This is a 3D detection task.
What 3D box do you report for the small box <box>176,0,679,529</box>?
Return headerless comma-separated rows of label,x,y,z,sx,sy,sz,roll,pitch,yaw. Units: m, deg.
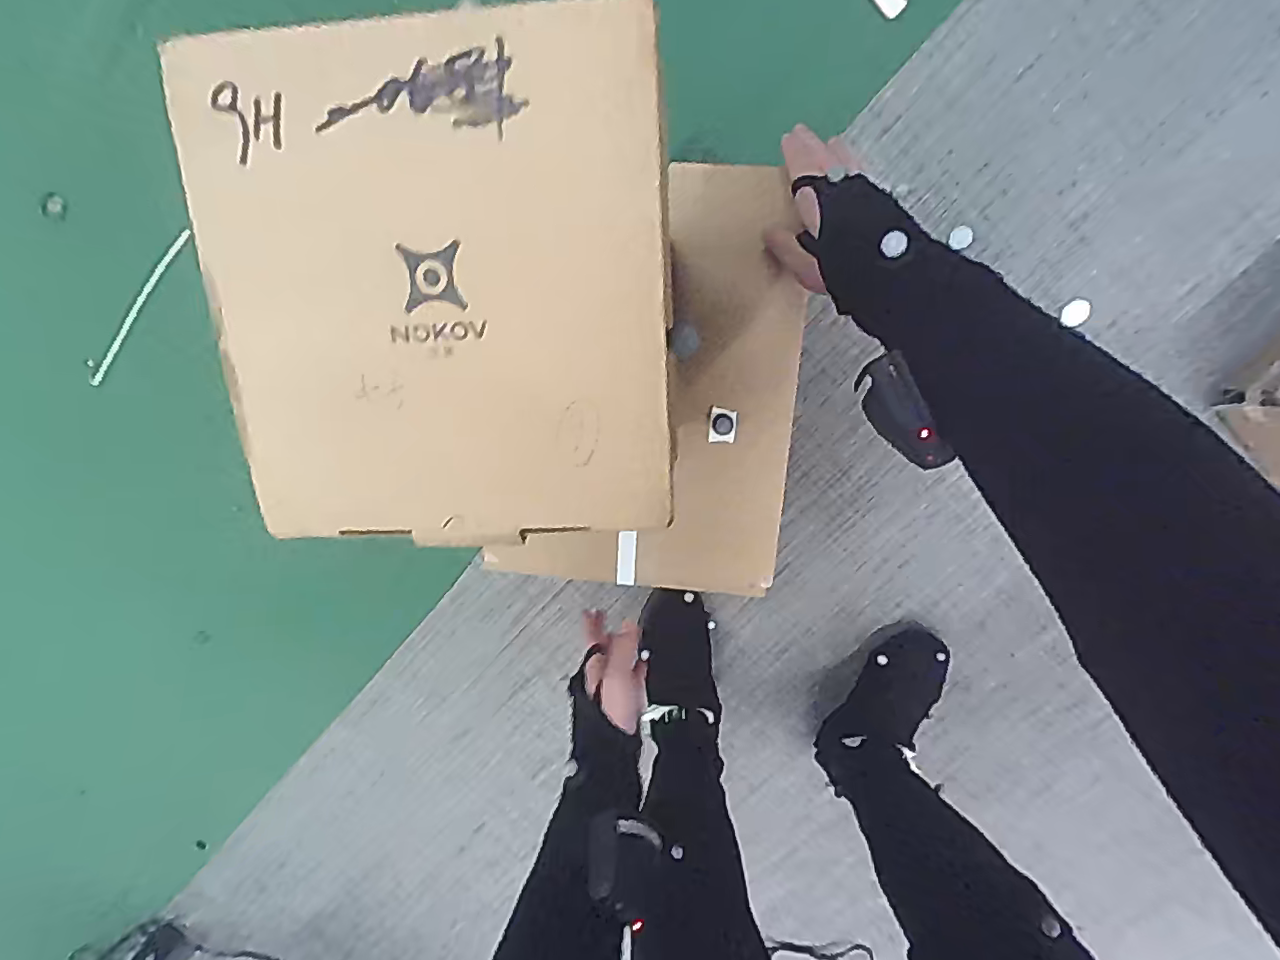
small box,-0.065,-0.086,0.273,0.168,0.176,0.179,-2,104,4
